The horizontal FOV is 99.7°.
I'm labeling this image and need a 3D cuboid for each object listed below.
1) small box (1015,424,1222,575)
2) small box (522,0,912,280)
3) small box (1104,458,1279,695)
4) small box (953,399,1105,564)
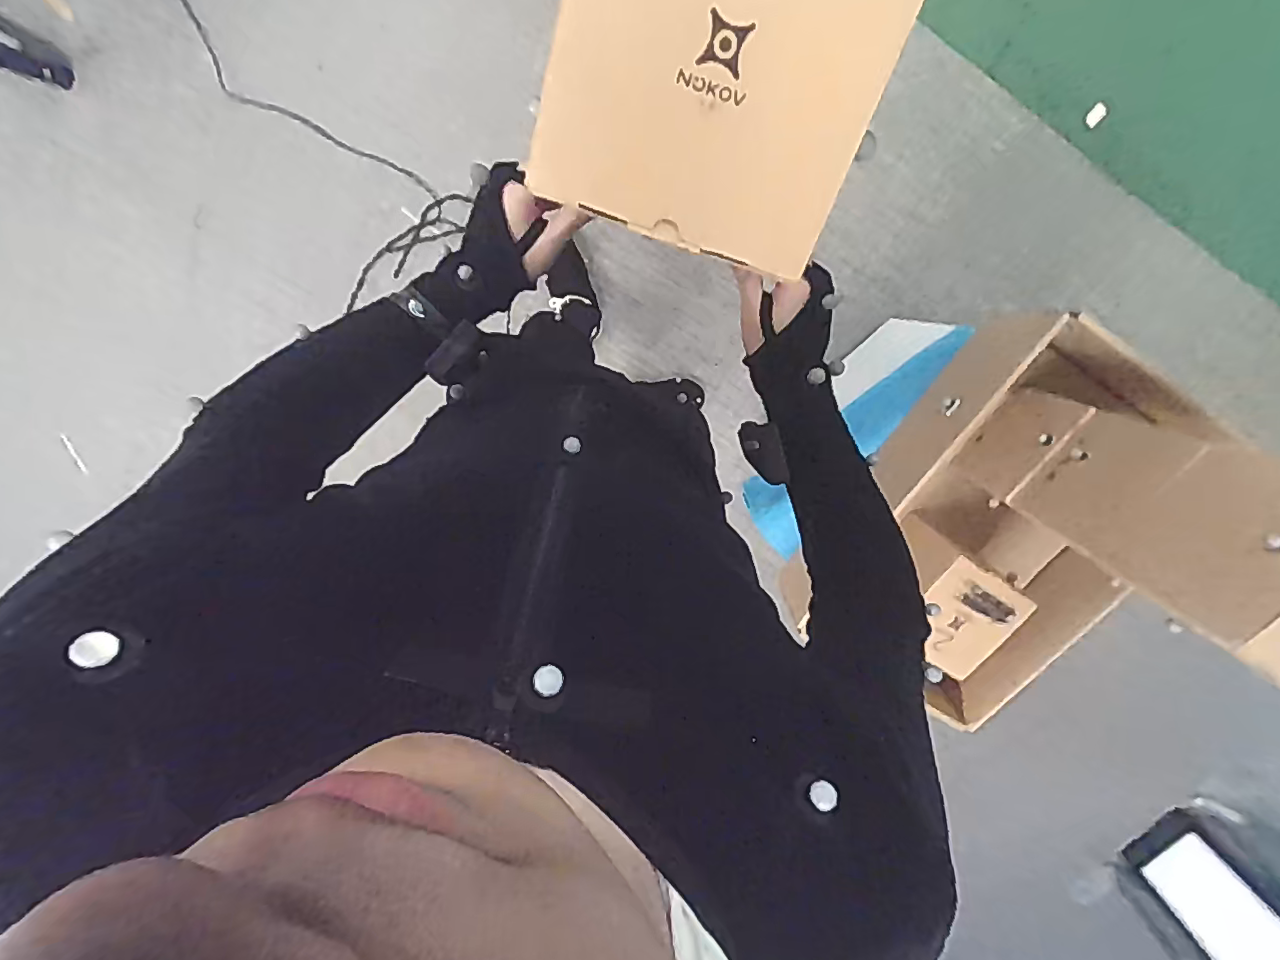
[{"bbox_3d":[0.646,0.049,0.693,0.179,0.176,0.168,31,108,-9],"label":"small box"},{"bbox_3d":[0.041,-0.248,0.335,0.168,0.176,0.179,17,119,-4],"label":"small box"},{"bbox_3d":[0.637,0.102,0.538,0.168,0.176,0.179,32,107,-9],"label":"small box"},{"bbox_3d":[0.646,-0.008,0.846,0.179,0.176,0.168,31,108,-10],"label":"small box"}]
